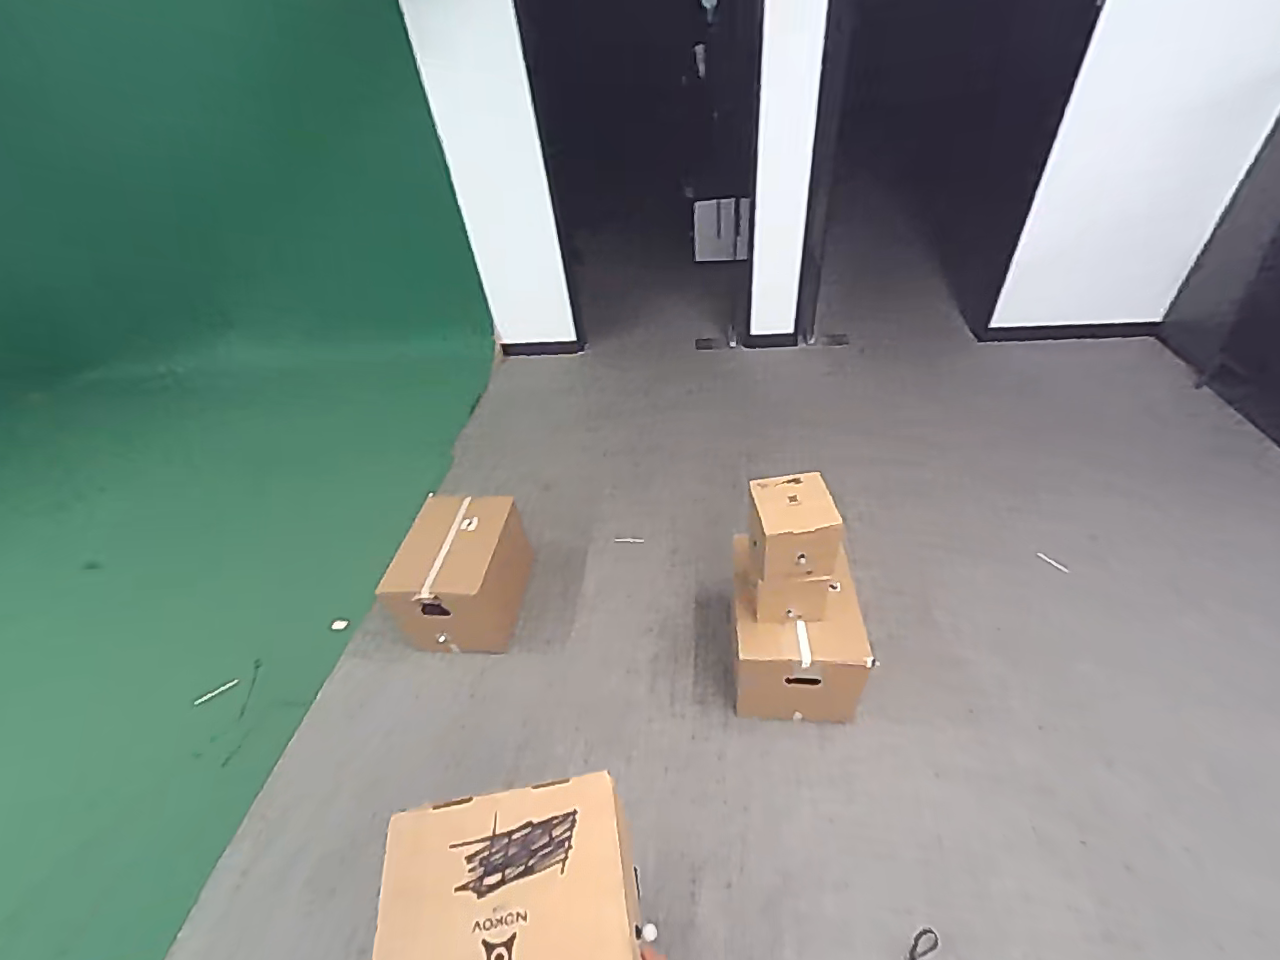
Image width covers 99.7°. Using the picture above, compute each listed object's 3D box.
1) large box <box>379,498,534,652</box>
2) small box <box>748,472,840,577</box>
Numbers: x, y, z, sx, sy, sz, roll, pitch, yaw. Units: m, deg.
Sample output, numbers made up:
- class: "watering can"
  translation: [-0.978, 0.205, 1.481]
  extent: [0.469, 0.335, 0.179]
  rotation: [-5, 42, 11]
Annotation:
- class: "large box"
  translation: [-0.570, 0.308, 1.773]
  extent: [0.320, 0.320, 0.408]
  rotation: [-1, 41, 8]
- class: "small box"
  translation: [0.347, 0.108, 1.246]
  extent: [0.168, 0.176, 0.179]
  rotation: [-8, 42, 2]
